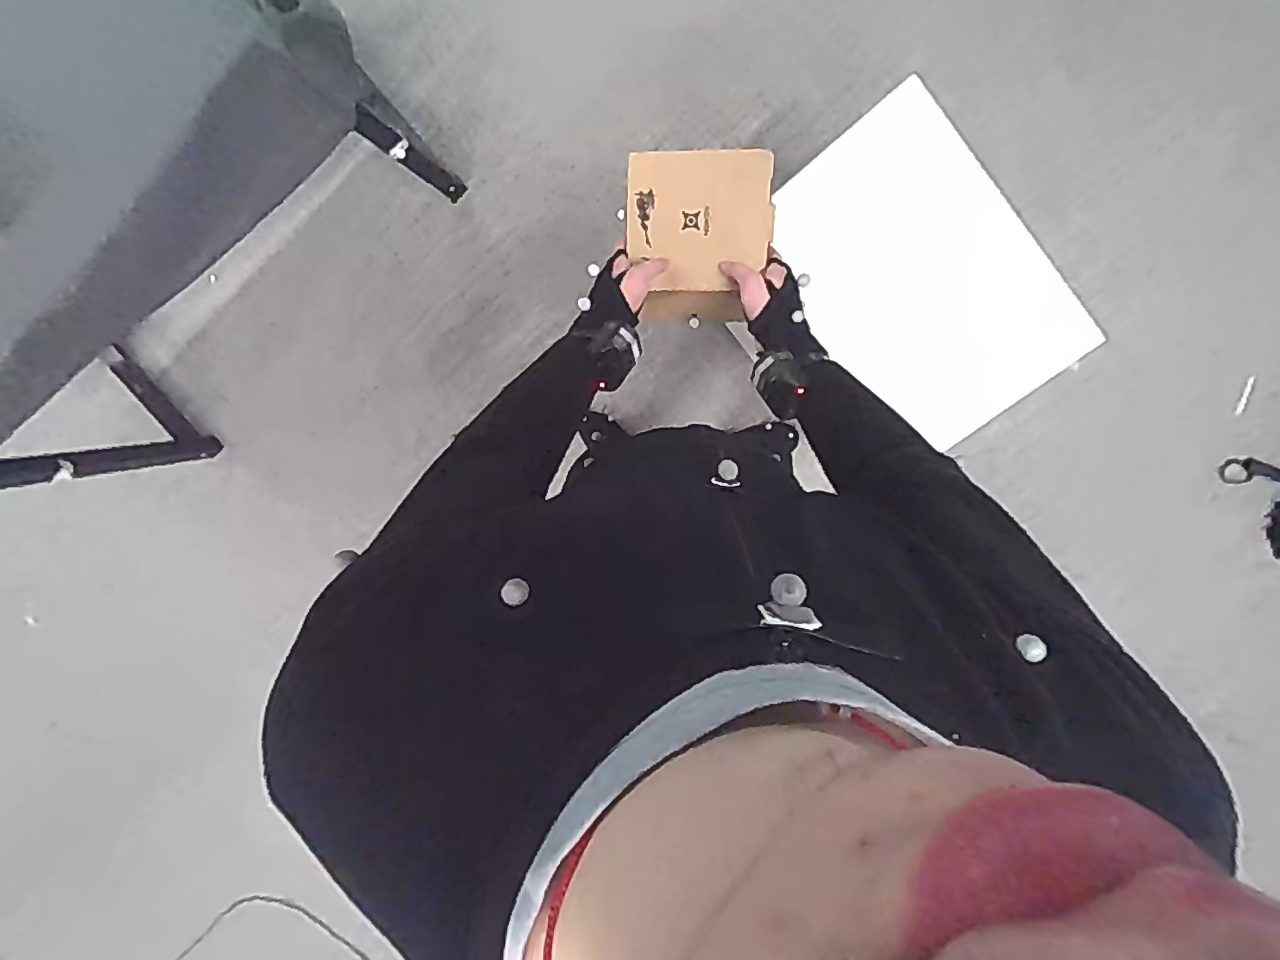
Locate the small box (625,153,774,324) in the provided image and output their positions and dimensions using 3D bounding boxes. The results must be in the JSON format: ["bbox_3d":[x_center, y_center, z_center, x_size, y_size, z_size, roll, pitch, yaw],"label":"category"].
[{"bbox_3d":[0.073,-0.311,0.726,0.179,0.176,0.168,1,94,3],"label":"small box"}]
